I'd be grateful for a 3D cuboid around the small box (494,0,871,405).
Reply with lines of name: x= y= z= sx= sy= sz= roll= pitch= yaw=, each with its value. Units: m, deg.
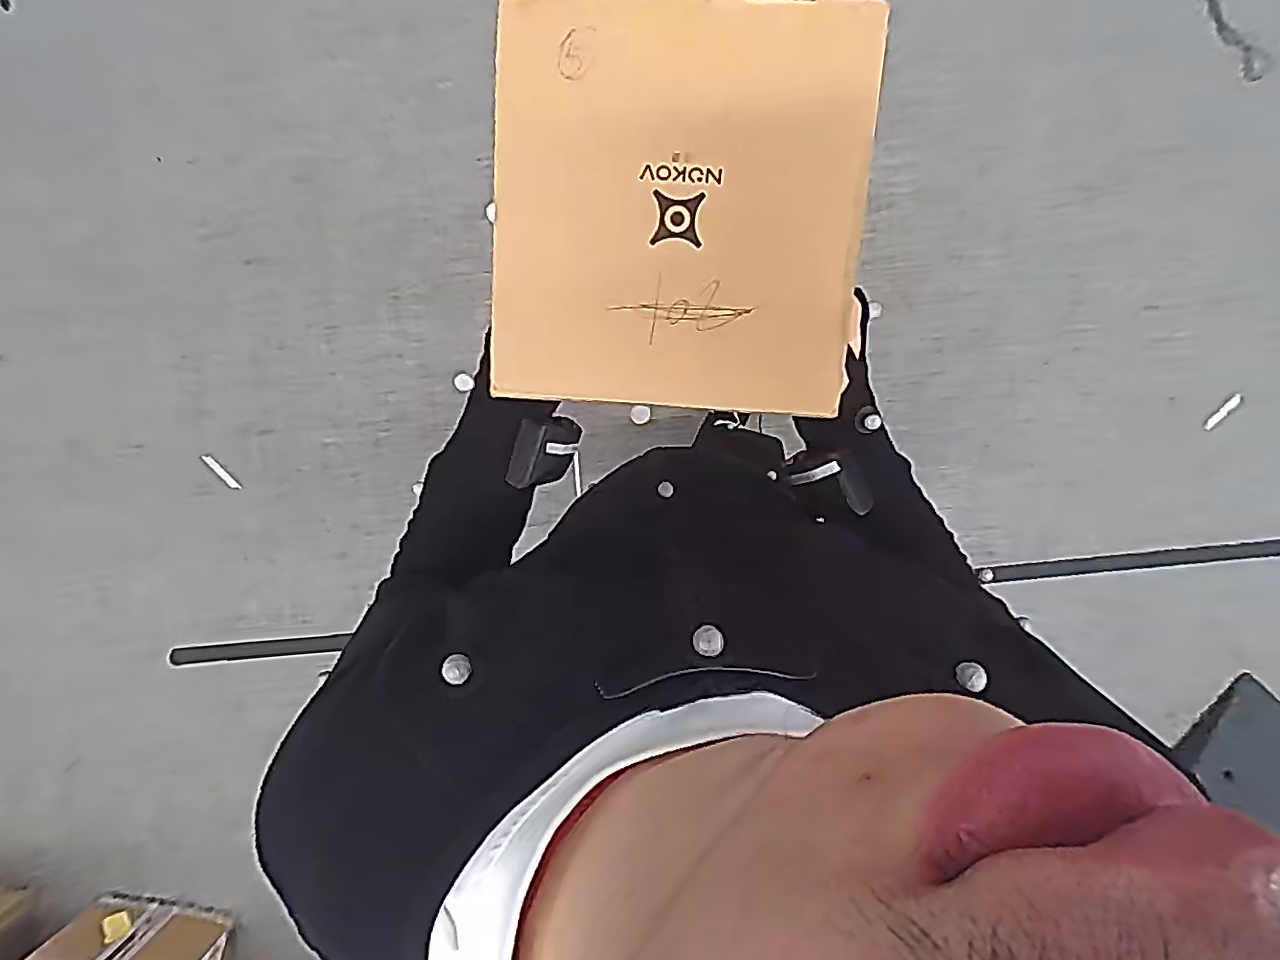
small box: x=0.017 y=-0.142 z=0.330 sx=0.168 sy=0.176 sz=0.179 roll=4 pitch=101 yaw=1
